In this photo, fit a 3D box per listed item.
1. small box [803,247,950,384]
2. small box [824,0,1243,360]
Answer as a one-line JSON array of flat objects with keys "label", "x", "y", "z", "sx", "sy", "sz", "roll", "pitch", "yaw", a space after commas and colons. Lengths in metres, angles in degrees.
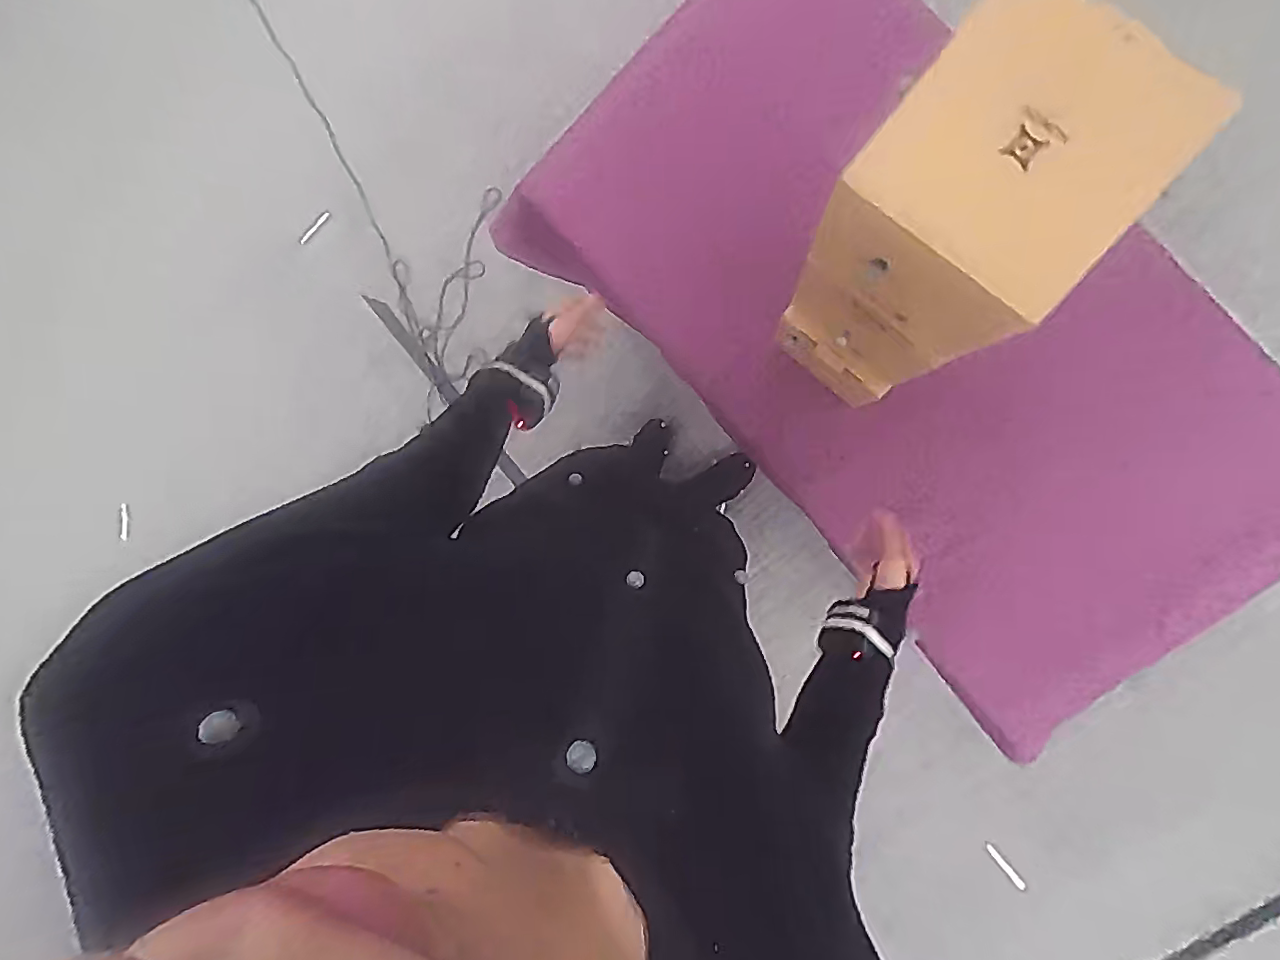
[{"label": "small box", "x": 0.299, "y": -0.227, "z": 0.586, "sx": 0.168, "sy": 0.176, "sz": 0.179, "roll": 44, "pitch": 99, "yaw": 6}, {"label": "small box", "x": 0.267, "y": -0.219, "z": 0.427, "sx": 0.168, "sy": 0.176, "sz": 0.179, "roll": 41, "pitch": 98, "yaw": 6}]
